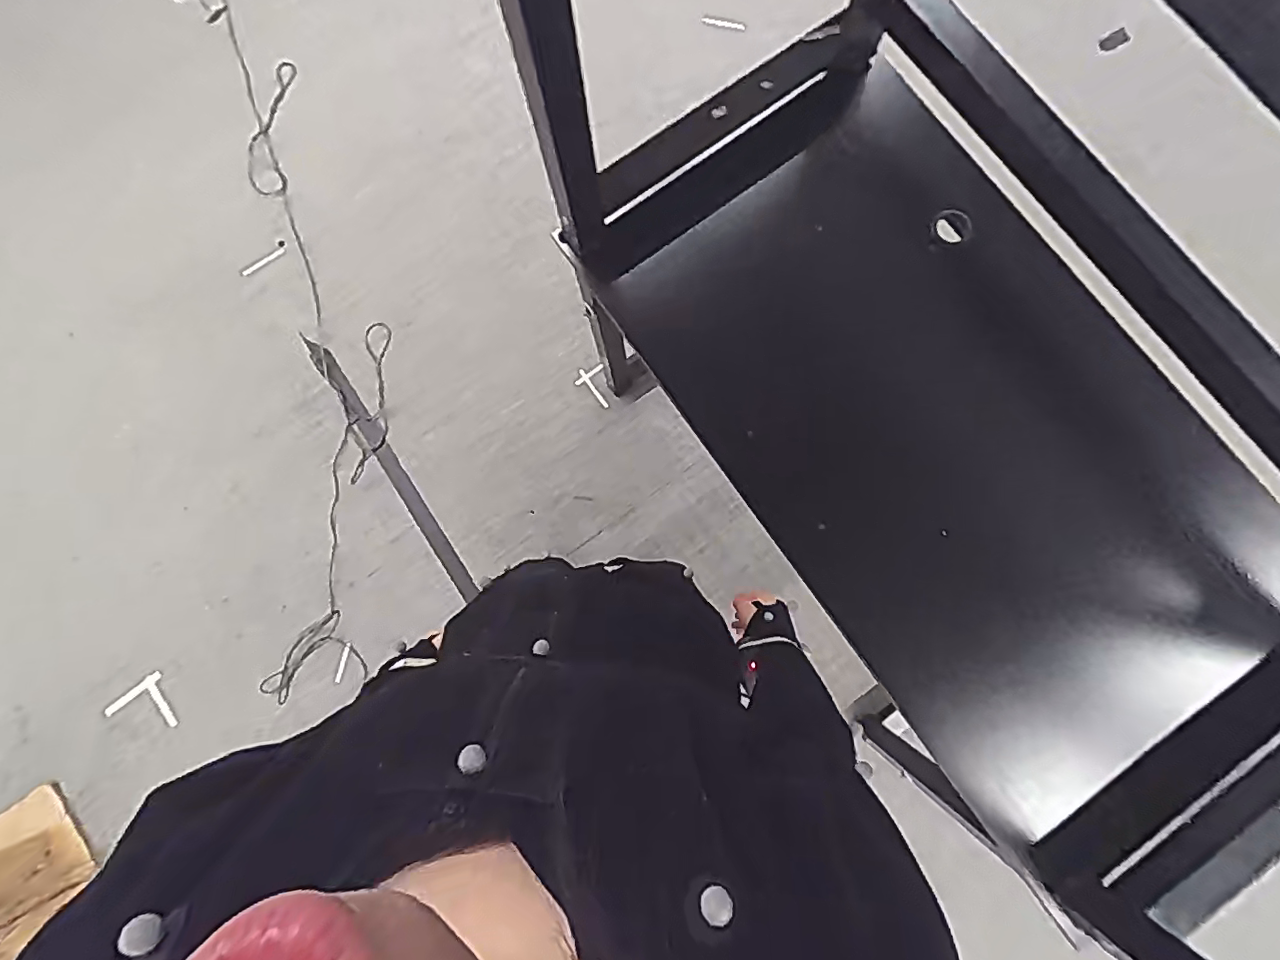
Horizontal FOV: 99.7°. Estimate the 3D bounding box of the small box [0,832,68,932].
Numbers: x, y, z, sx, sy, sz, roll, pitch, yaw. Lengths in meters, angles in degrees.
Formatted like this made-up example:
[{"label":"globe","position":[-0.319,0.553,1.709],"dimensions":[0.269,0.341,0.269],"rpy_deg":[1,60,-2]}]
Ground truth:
[{"label":"small box","position":[-1.591,1.019,1.323],"dimensions":[0.179,0.176,0.168],"rpy_deg":[-35,83,-5]}]
